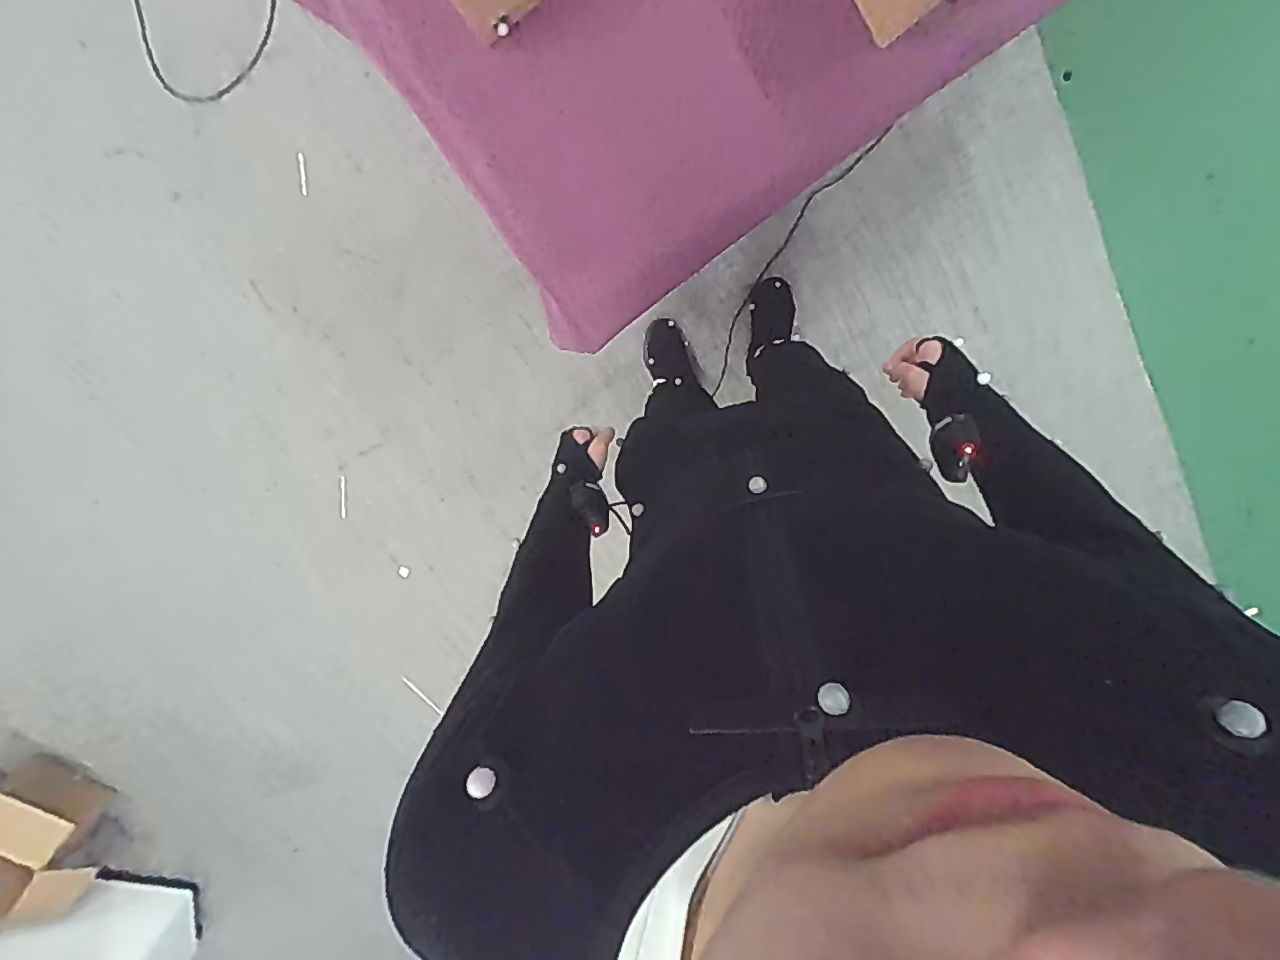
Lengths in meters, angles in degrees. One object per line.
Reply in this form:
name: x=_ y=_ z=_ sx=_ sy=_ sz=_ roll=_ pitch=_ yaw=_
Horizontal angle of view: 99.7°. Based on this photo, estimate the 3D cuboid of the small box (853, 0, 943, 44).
small box: x=0.318 y=-0.633 z=0.578 sx=0.168 sy=0.176 sz=0.179 roll=-35 pitch=106 yaw=11

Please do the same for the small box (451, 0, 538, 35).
small box: x=-0.174 y=-0.627 z=0.574 sx=0.168 sy=0.176 sz=0.179 roll=-33 pitch=106 yaw=10
